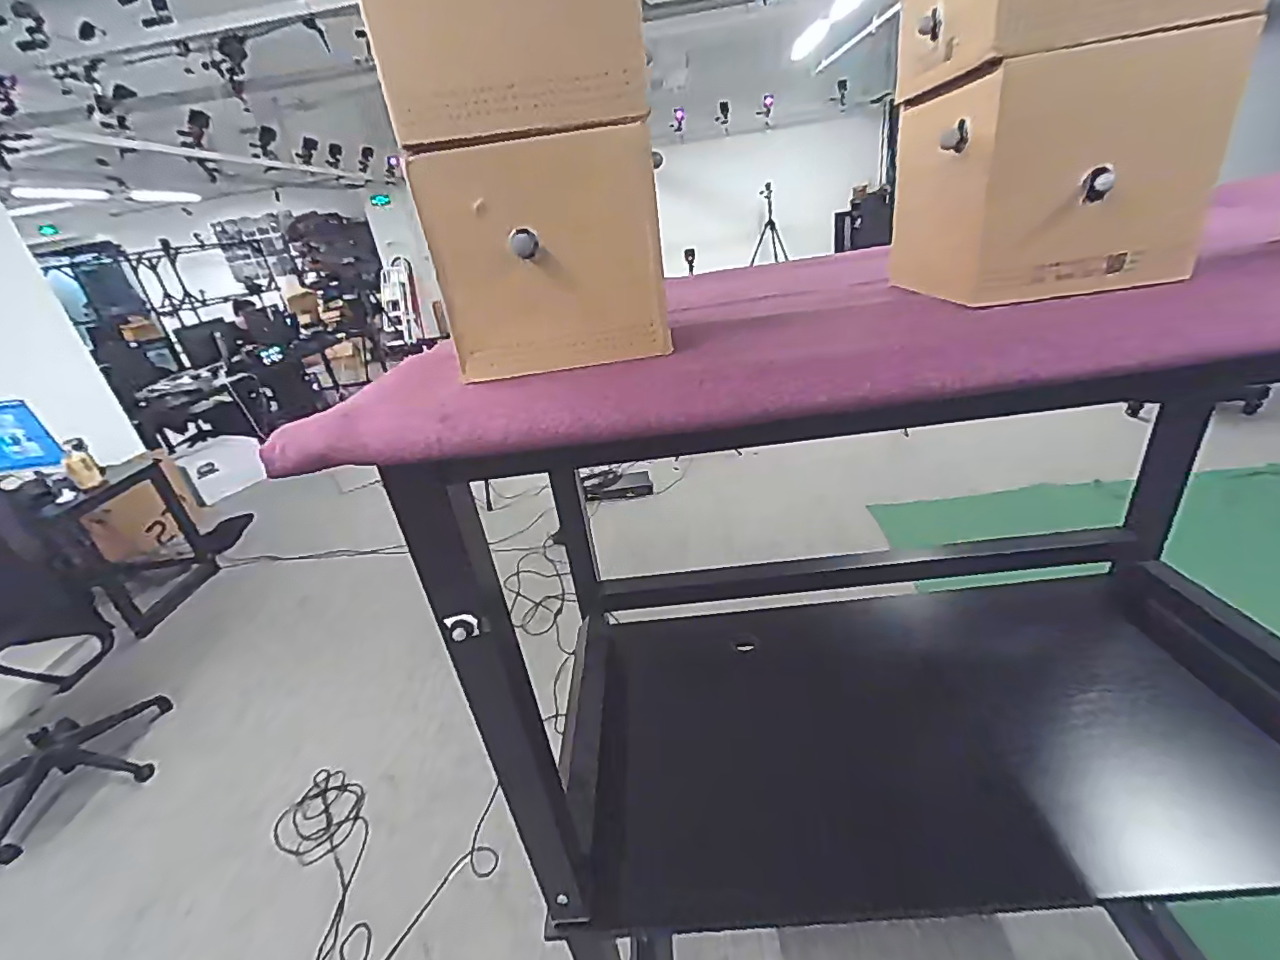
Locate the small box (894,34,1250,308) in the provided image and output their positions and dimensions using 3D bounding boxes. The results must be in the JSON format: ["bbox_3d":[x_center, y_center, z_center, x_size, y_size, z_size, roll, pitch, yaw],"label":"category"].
[{"bbox_3d":[0.344,-0.253,0.478,0.168,0.176,0.179,-6,25,4],"label":"small box"}]

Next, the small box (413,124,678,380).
[{"bbox_3d":[-0.069,-0.196,0.485,0.179,0.176,0.168,-9,27,-1],"label":"small box"}]

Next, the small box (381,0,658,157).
[{"bbox_3d":[-0.089,-0.343,0.412,0.179,0.176,0.168,-8,27,-3],"label":"small box"}]
